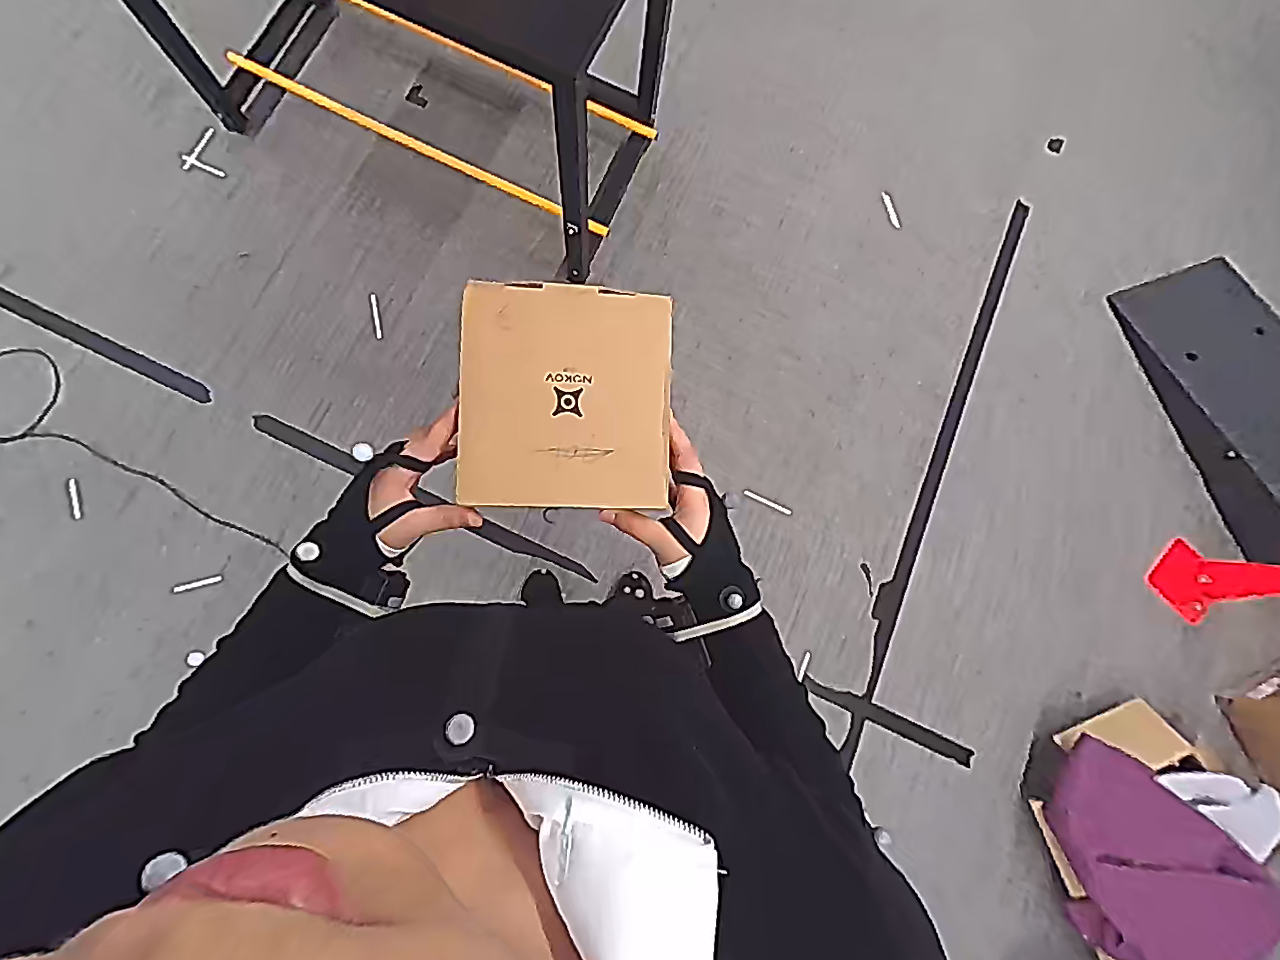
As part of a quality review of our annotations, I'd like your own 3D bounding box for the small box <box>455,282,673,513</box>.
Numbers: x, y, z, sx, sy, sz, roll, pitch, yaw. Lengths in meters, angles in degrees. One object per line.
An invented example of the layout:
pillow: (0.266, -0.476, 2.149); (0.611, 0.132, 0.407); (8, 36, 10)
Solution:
small box: (-0.068, -0.060, 0.498); (0.168, 0.176, 0.179); (1, 88, -8)
